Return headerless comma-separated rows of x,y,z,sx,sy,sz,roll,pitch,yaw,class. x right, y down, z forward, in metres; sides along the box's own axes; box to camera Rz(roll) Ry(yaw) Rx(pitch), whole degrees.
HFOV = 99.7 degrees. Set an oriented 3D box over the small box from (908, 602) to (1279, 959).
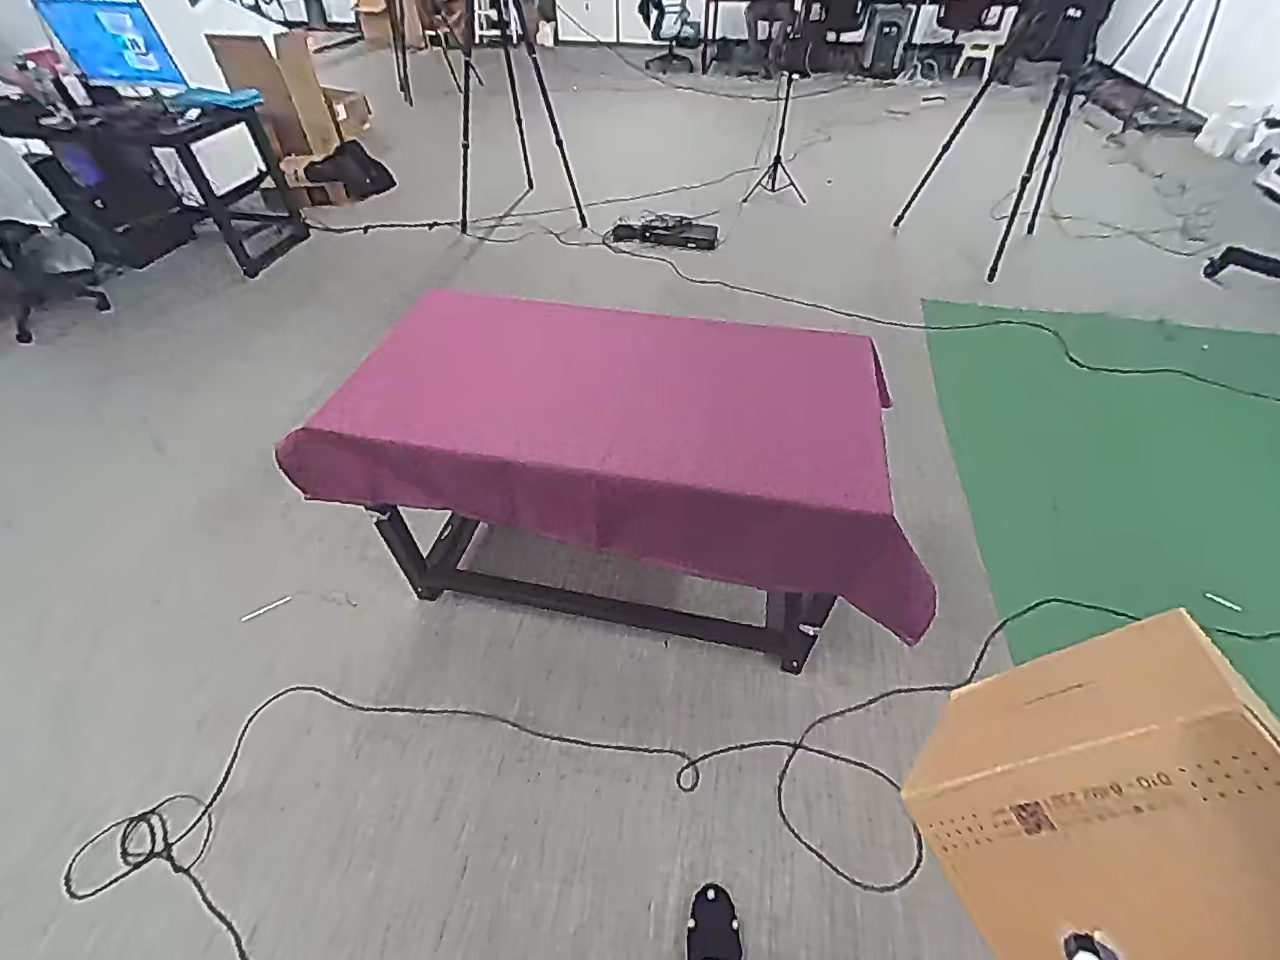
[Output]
0.291,0.195,0.317,0.179,0.168,0.176,-6,60,-51,small box
